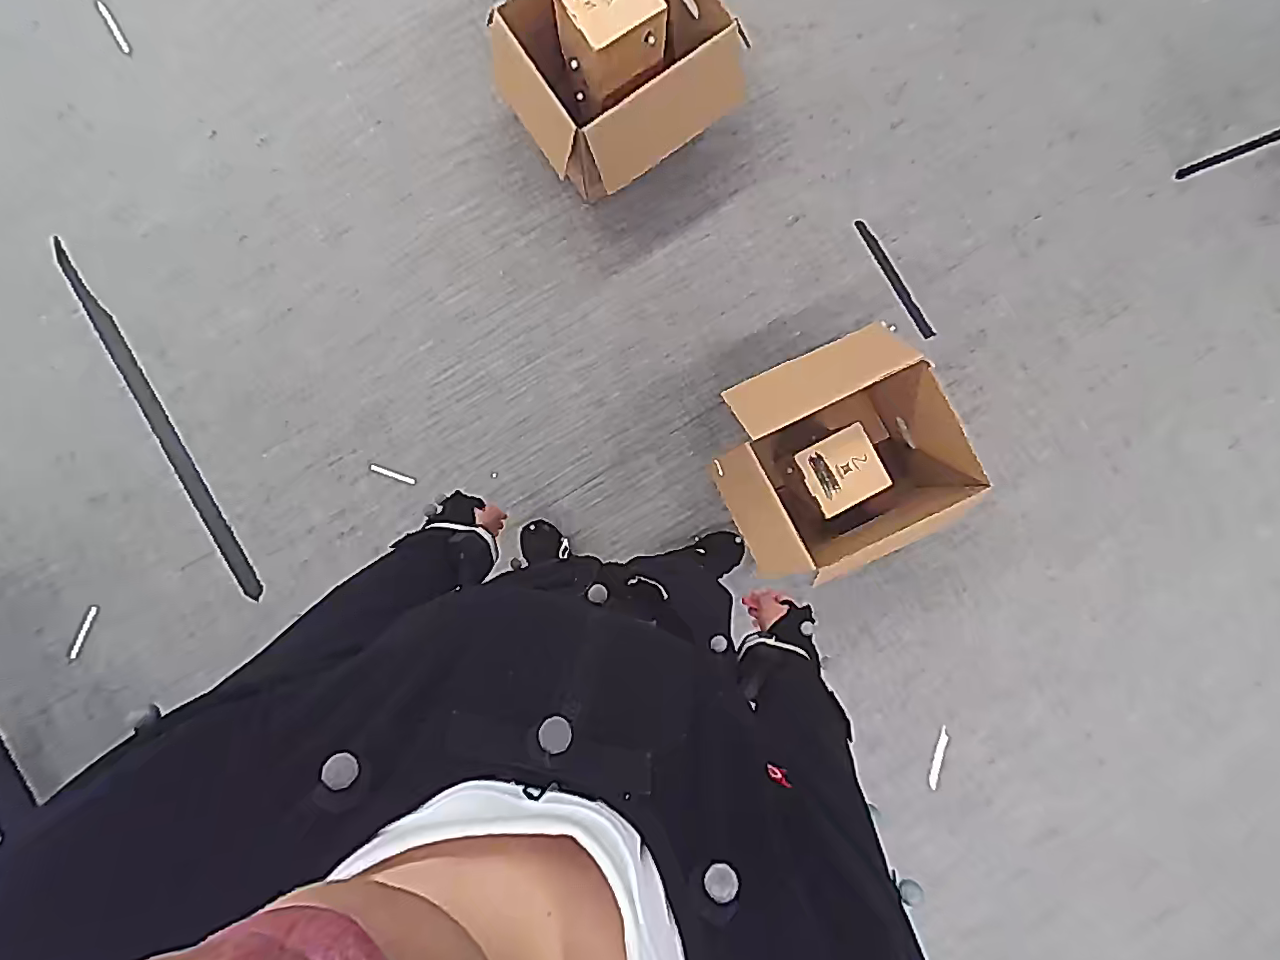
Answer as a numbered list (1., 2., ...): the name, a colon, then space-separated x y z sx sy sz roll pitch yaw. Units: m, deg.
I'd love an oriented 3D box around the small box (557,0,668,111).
1. small box: -0.060 -0.953 1.160 0.179 0.176 0.168 -33 89 -1
